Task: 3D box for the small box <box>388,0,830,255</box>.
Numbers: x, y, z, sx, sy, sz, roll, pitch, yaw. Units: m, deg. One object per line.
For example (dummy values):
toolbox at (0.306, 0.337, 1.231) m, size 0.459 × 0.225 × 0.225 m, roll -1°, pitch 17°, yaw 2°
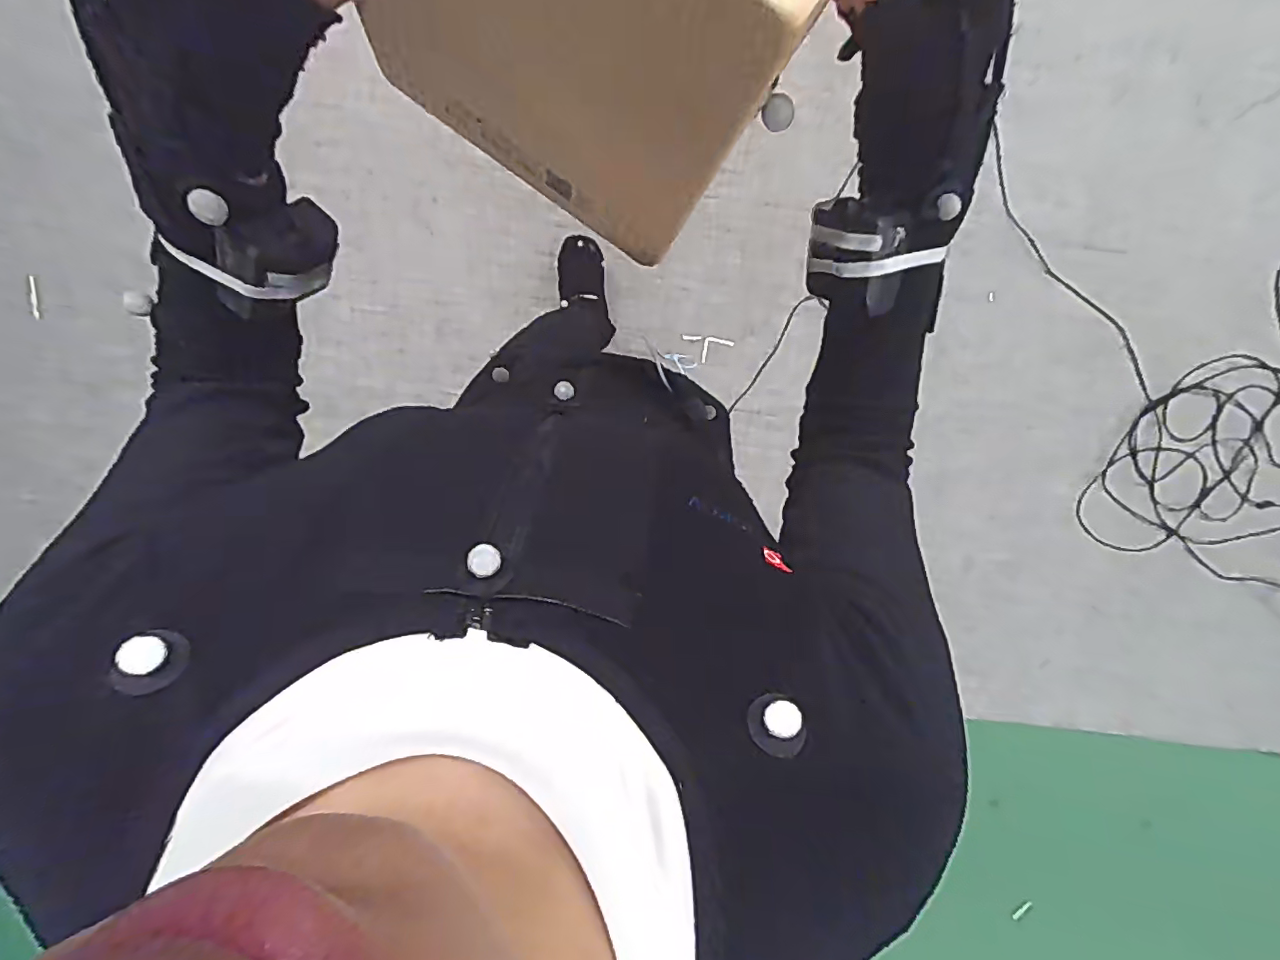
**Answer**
small box at (0.003, -0.235, 0.219) m, size 0.168 × 0.176 × 0.179 m, roll 33°, pitch 82°, yaw -10°
